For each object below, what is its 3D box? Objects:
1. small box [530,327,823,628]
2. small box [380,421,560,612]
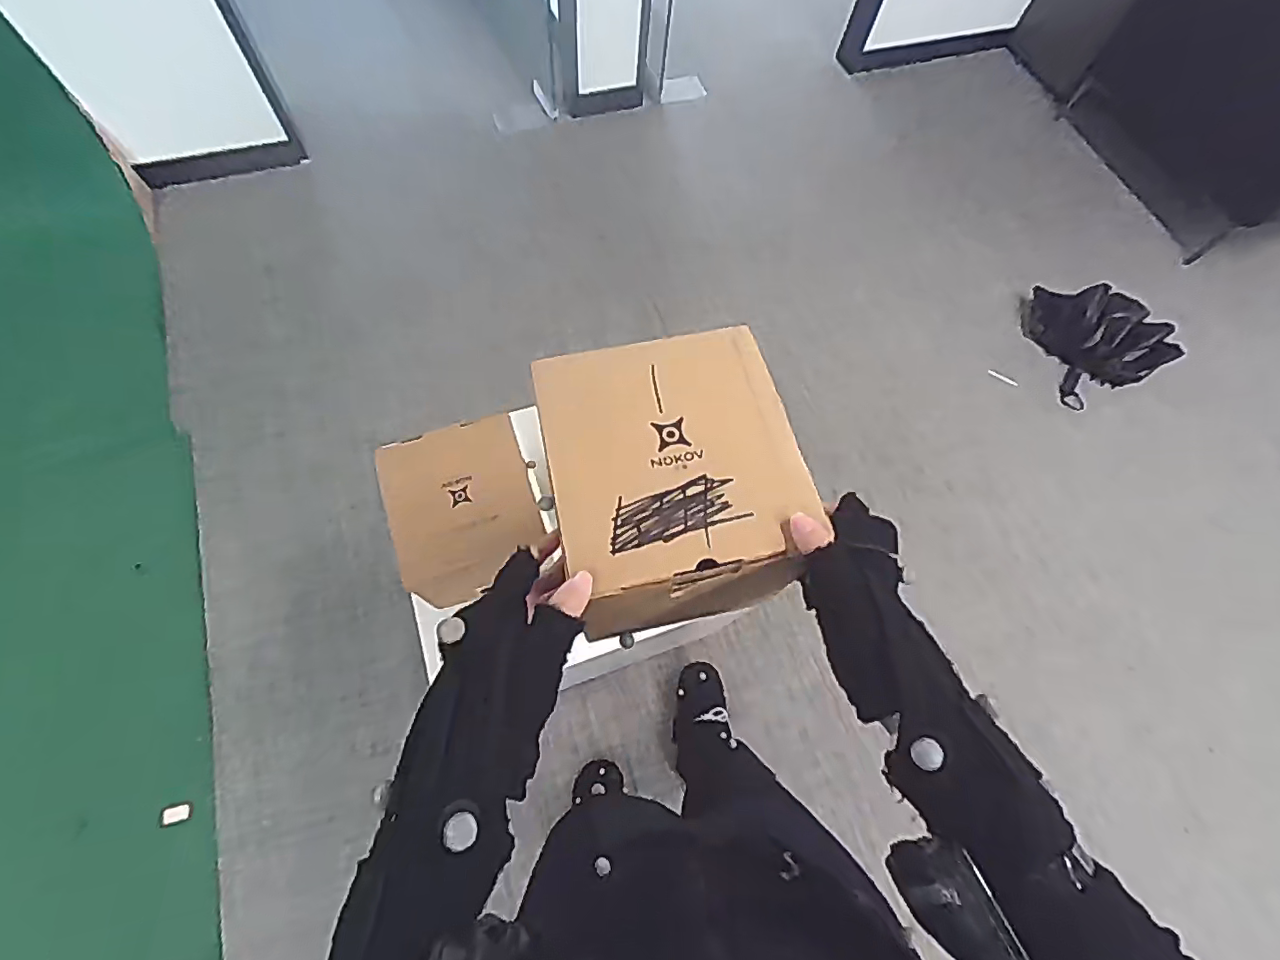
[{"bbox_3d":[0.018,0.011,0.433,0.168,0.176,0.179,-12,65,-6],"label":"small box"},{"bbox_3d":[-0.211,0.055,0.707,0.168,0.176,0.179,-19,71,-11],"label":"small box"}]
